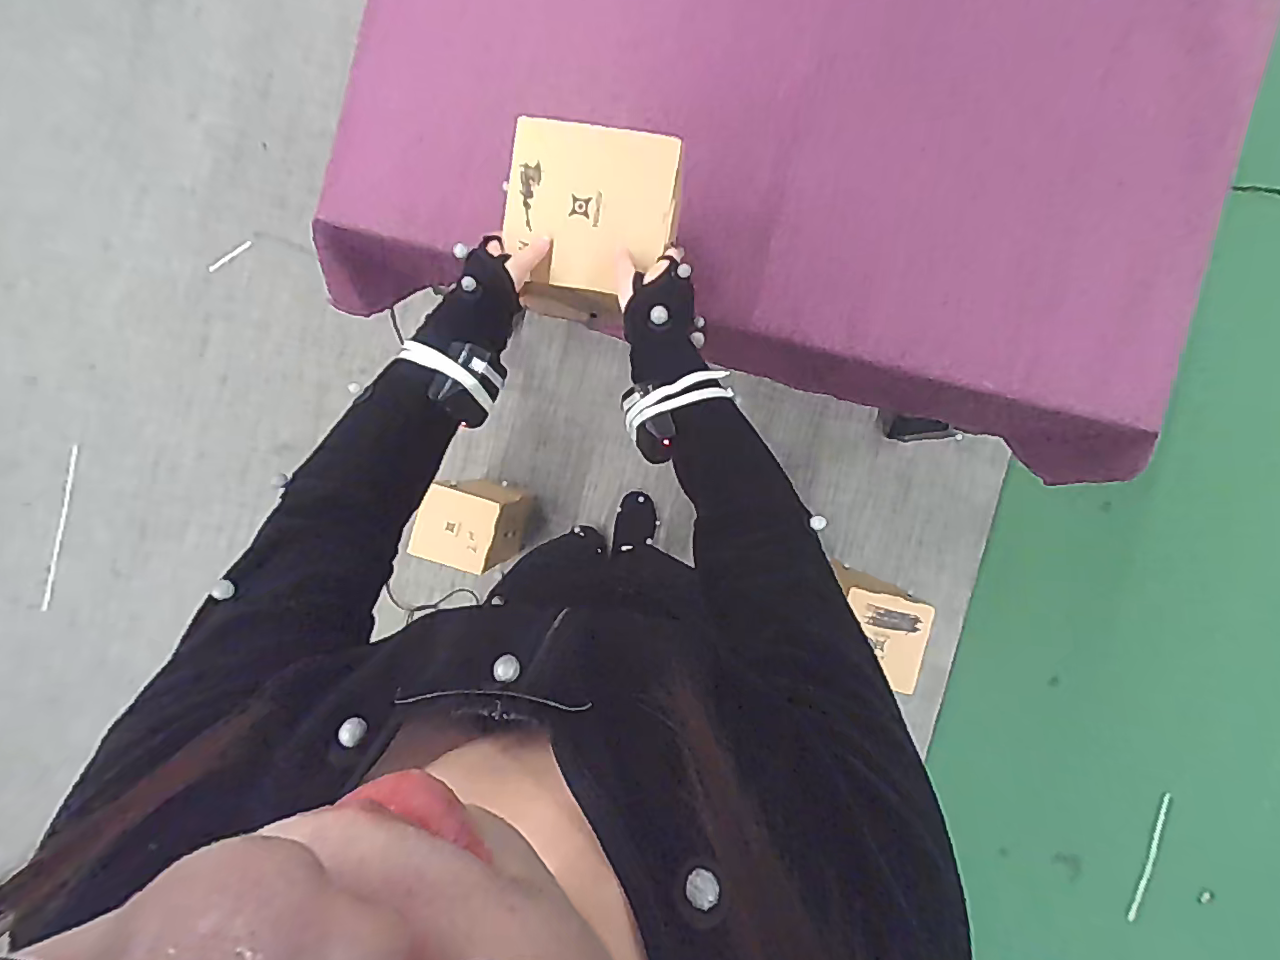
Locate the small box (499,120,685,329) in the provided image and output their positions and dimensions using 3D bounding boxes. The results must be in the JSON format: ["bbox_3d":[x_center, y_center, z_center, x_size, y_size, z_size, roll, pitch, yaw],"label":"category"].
[{"bbox_3d":[-0.050,-0.286,0.647,0.179,0.176,0.168,10,94,1],"label":"small box"}]

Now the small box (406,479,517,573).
[{"bbox_3d":[-0.407,0.101,1.260,0.179,0.176,0.168,17,92,0],"label":"small box"}]

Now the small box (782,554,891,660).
[{"bbox_3d":[0.444,0.286,1.253,0.168,0.176,0.179,15,92,-1],"label":"small box"}]
